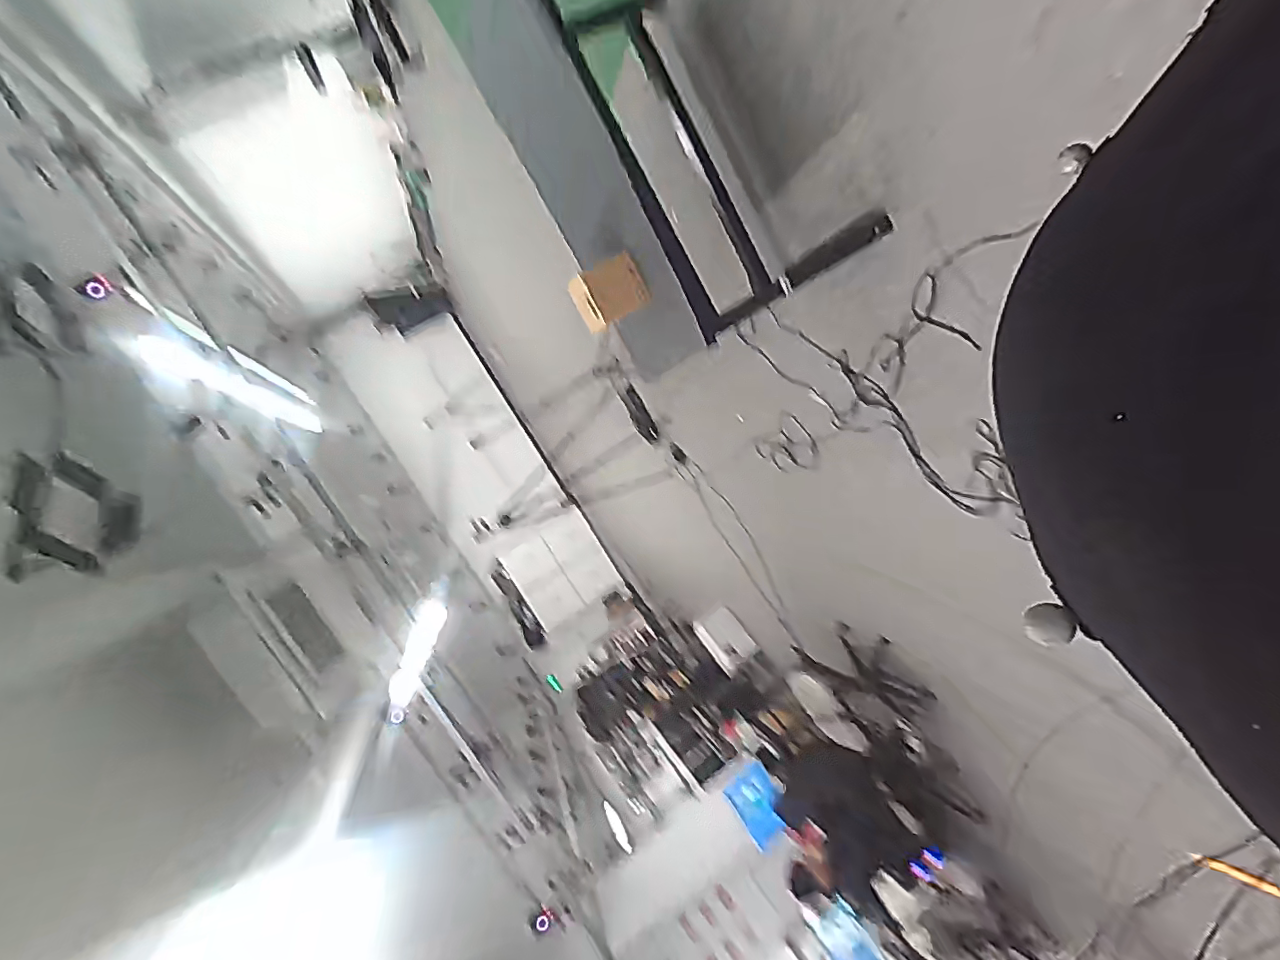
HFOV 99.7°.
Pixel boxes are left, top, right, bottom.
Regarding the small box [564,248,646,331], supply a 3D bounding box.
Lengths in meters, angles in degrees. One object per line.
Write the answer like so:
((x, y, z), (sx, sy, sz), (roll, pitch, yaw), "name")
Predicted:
((-0.104, -0.580, 1.647), (0.168, 0.176, 0.179), (61, 165, -14), "small box")
